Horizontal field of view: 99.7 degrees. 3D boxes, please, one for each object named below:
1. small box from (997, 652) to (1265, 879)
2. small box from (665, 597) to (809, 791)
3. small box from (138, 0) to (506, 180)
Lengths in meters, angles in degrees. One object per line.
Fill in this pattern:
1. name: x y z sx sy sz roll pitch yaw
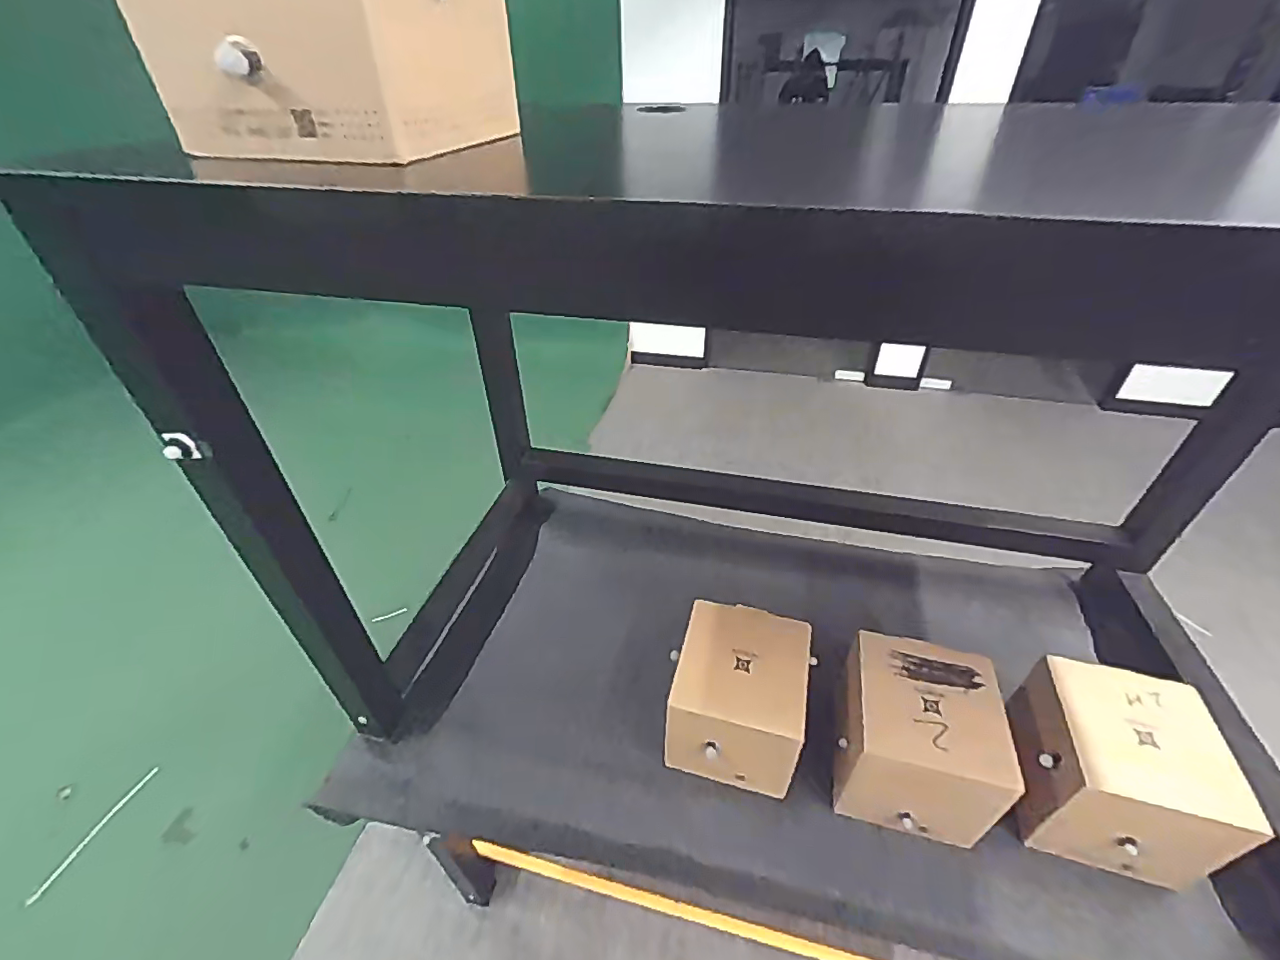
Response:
1. small box: 0.577 0.352 0.671 0.168 0.176 0.179 10 39 14
2. small box: 0.136 0.299 0.758 0.168 0.176 0.179 9 39 14
3. small box: -0.204 -0.317 0.366 0.168 0.176 0.179 8 40 12
